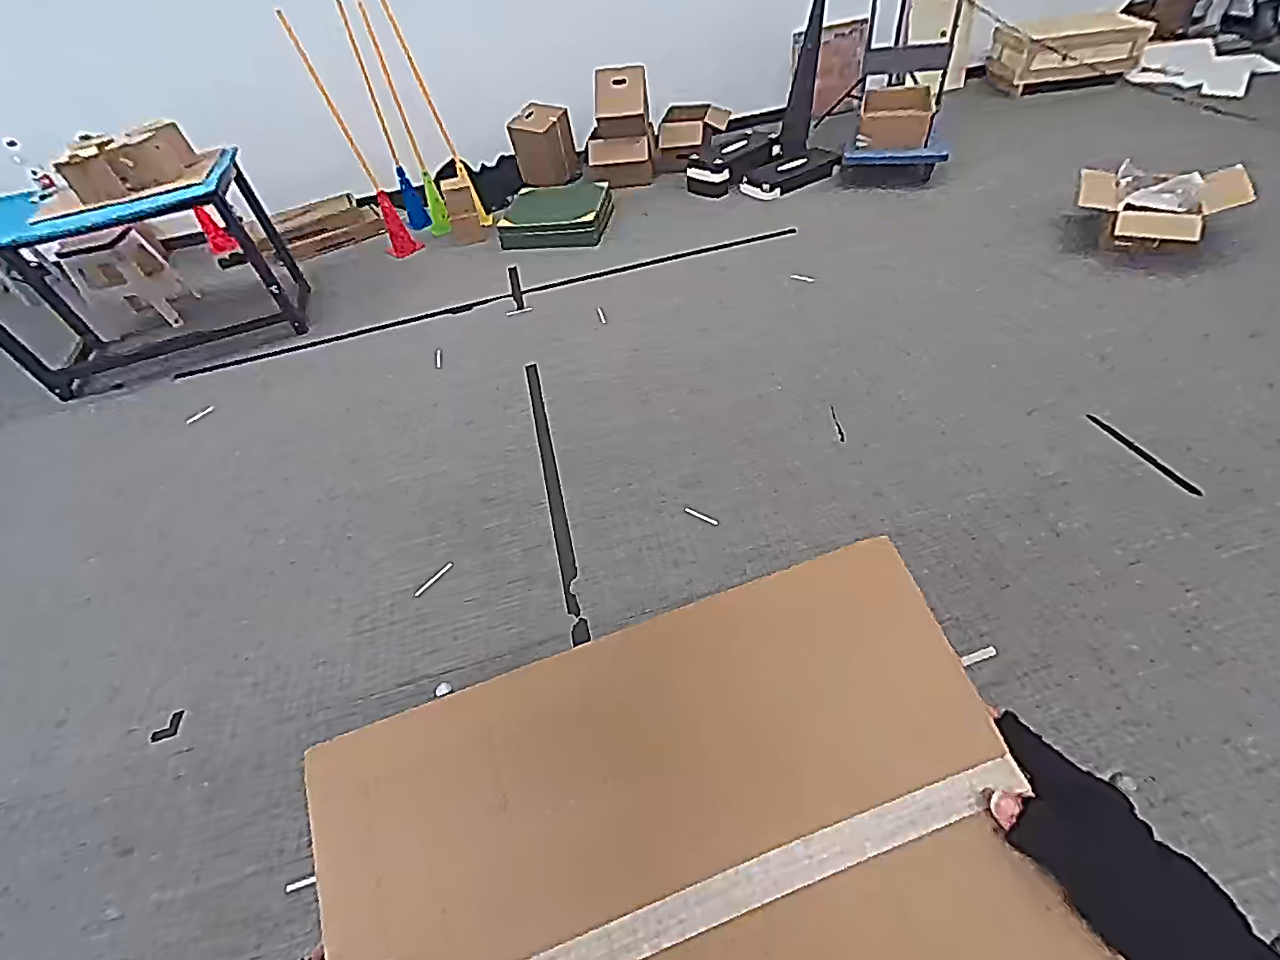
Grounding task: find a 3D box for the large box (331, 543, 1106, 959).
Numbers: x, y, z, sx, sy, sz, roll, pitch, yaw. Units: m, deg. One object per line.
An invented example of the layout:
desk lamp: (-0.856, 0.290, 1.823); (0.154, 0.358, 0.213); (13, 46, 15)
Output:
large box: (0.041, 0.298, 0.452); (0.408, 0.320, 0.320); (-20, 70, -5)
